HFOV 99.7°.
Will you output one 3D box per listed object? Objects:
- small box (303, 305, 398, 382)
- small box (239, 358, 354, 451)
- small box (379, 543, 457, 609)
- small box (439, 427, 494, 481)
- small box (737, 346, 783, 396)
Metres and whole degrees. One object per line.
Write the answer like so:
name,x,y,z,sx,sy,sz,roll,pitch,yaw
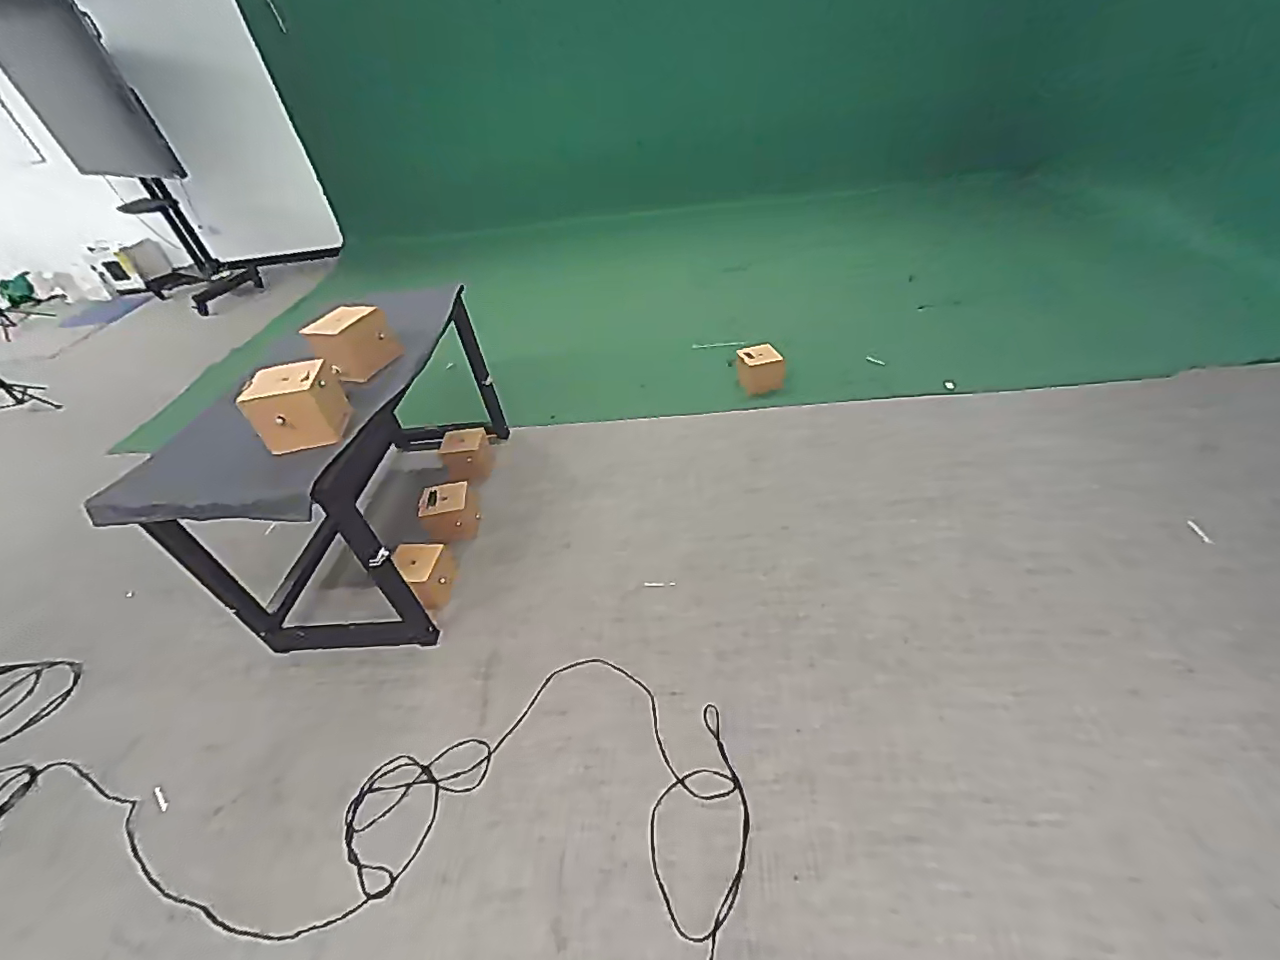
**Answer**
small box,-0.887,-0.427,1.684,0.168,0.176,0.179,8,45,23
small box,-0.892,-0.196,1.424,0.179,0.176,0.168,-12,42,-4
small box,-0.772,0.341,1.909,0.179,0.176,0.168,-1,42,9
small box,-0.768,-0.116,2.413,0.179,0.176,0.168,-7,41,2
small box,0.584,-0.528,2.645,0.179,0.176,0.168,-13,42,-7
